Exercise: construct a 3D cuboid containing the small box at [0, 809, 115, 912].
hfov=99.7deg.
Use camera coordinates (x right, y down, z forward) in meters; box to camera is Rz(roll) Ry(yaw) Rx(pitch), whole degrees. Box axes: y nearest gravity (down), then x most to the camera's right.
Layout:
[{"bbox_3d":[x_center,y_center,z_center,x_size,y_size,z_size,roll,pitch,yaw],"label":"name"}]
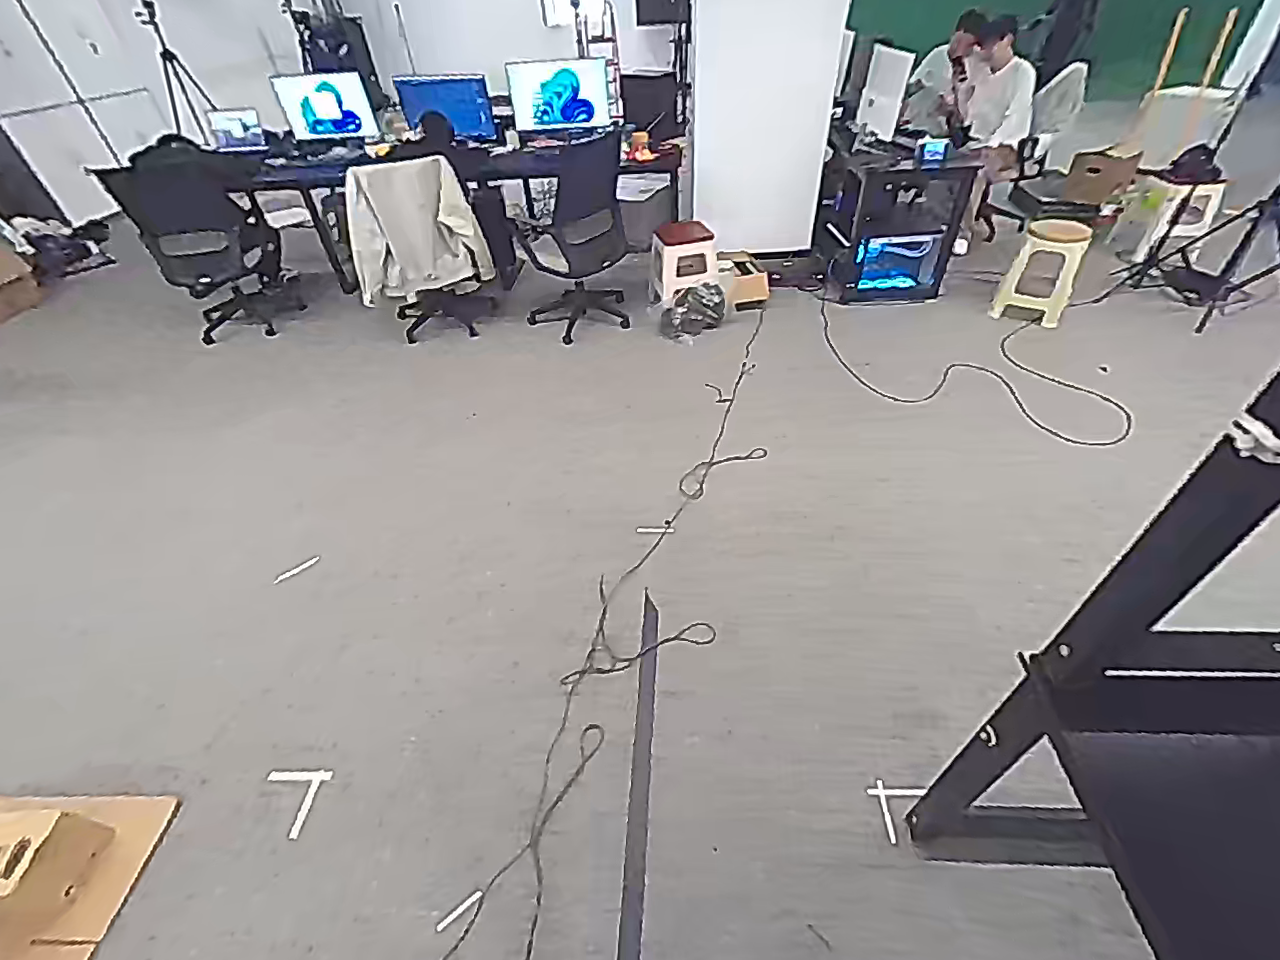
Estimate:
[{"bbox_3d":[-1.400,0.881,1.251,0.179,0.176,0.168,-4,43,1],"label":"small box"}]
